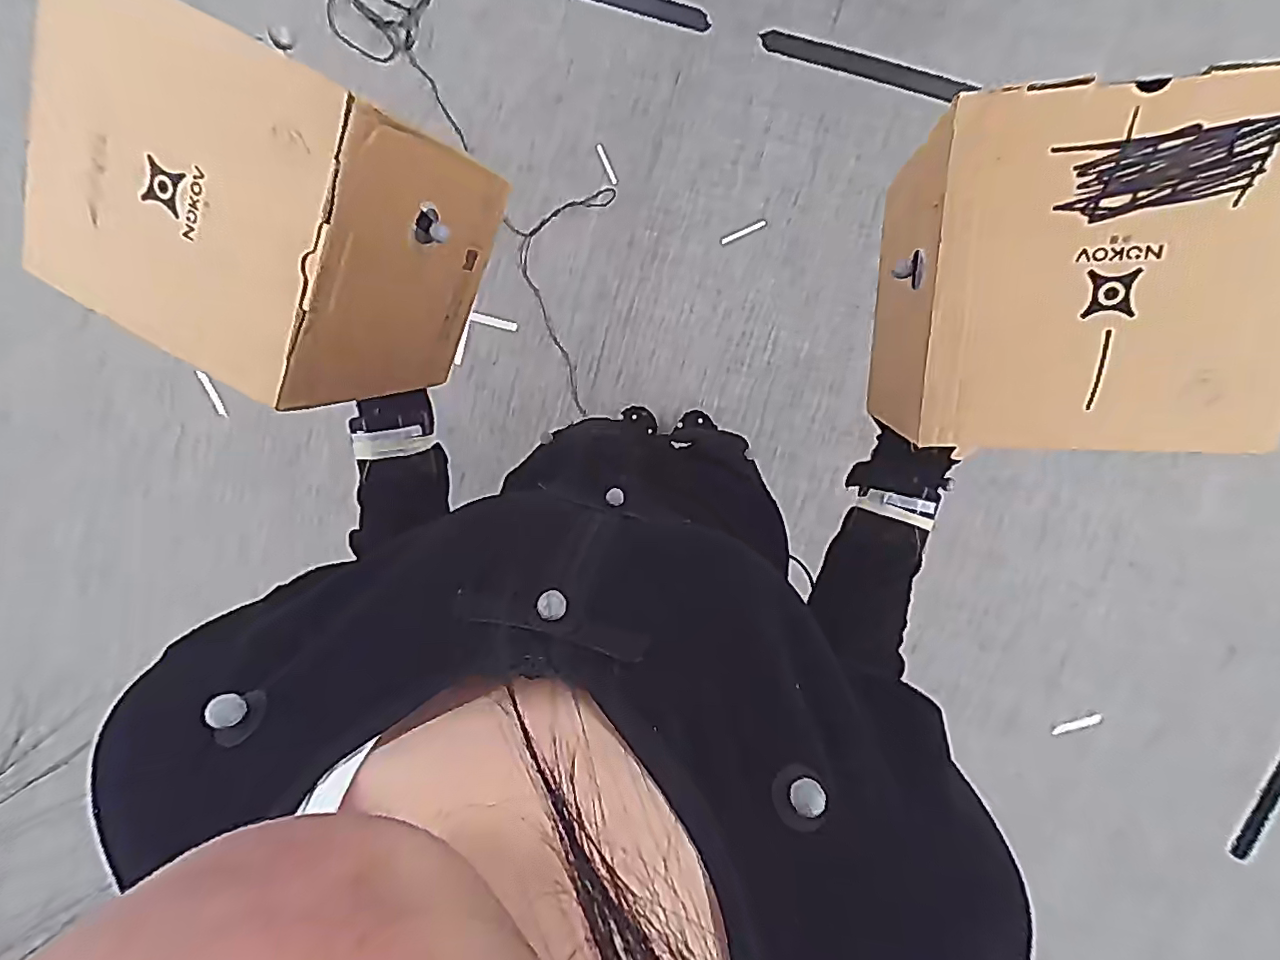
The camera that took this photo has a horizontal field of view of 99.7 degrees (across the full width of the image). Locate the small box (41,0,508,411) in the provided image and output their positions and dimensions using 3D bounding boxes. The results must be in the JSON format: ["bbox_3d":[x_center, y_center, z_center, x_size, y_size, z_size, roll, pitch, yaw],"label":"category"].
[{"bbox_3d":[-0.214,-0.166,0.352,0.179,0.176,0.168,28,108,4],"label":"small box"}]

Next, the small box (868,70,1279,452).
[{"bbox_3d":[0.253,-0.121,0.348,0.168,0.176,0.179,2,105,12],"label":"small box"}]
